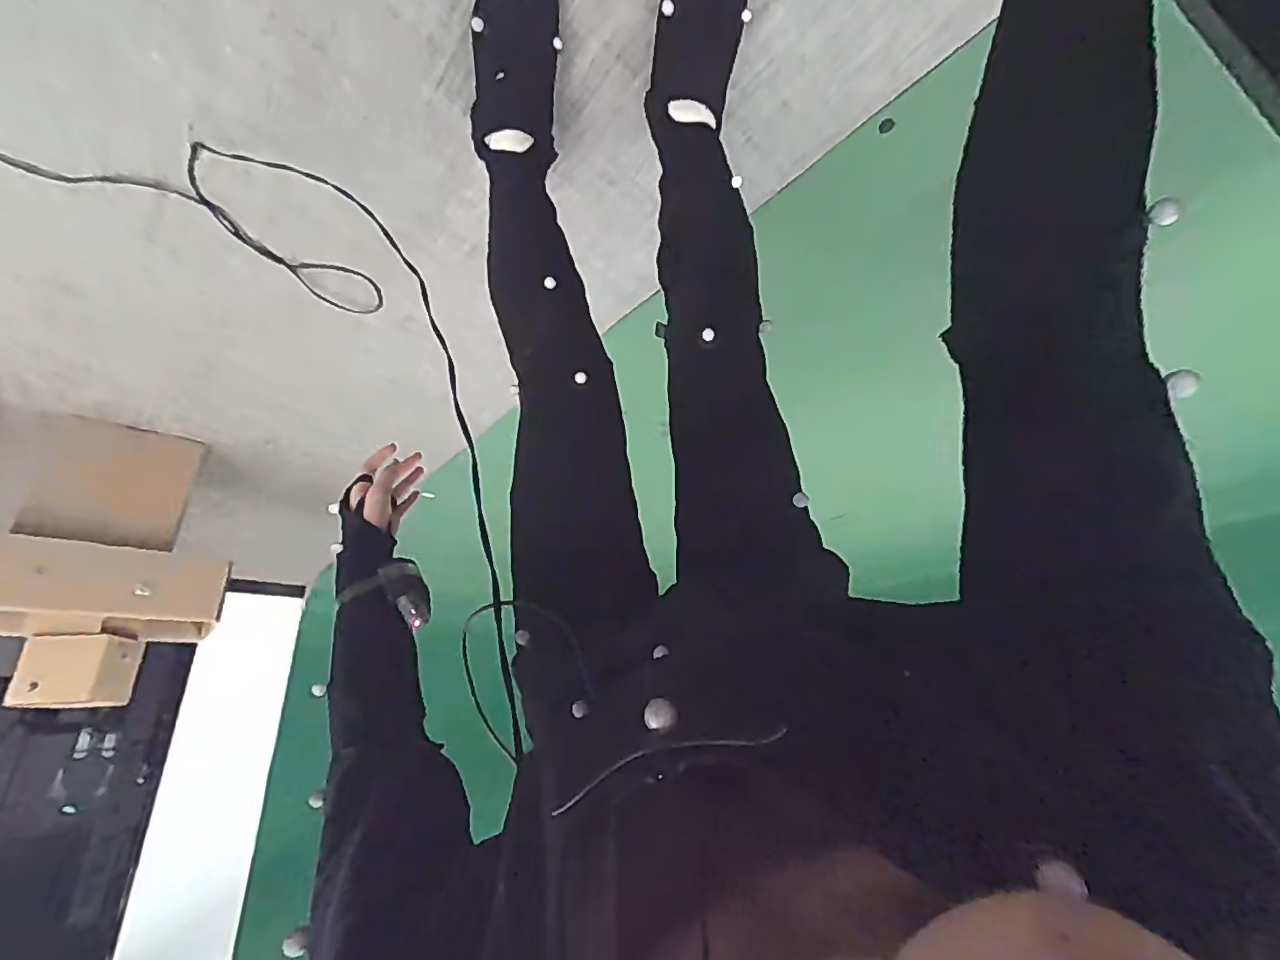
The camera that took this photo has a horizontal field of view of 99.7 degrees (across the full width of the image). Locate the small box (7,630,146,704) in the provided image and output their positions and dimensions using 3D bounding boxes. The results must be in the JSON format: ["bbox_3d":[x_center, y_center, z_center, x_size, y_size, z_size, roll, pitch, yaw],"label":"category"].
[{"bbox_3d":[-1.471,0.495,1.427,0.179,0.176,0.168,2,157,-13],"label":"small box"}]
